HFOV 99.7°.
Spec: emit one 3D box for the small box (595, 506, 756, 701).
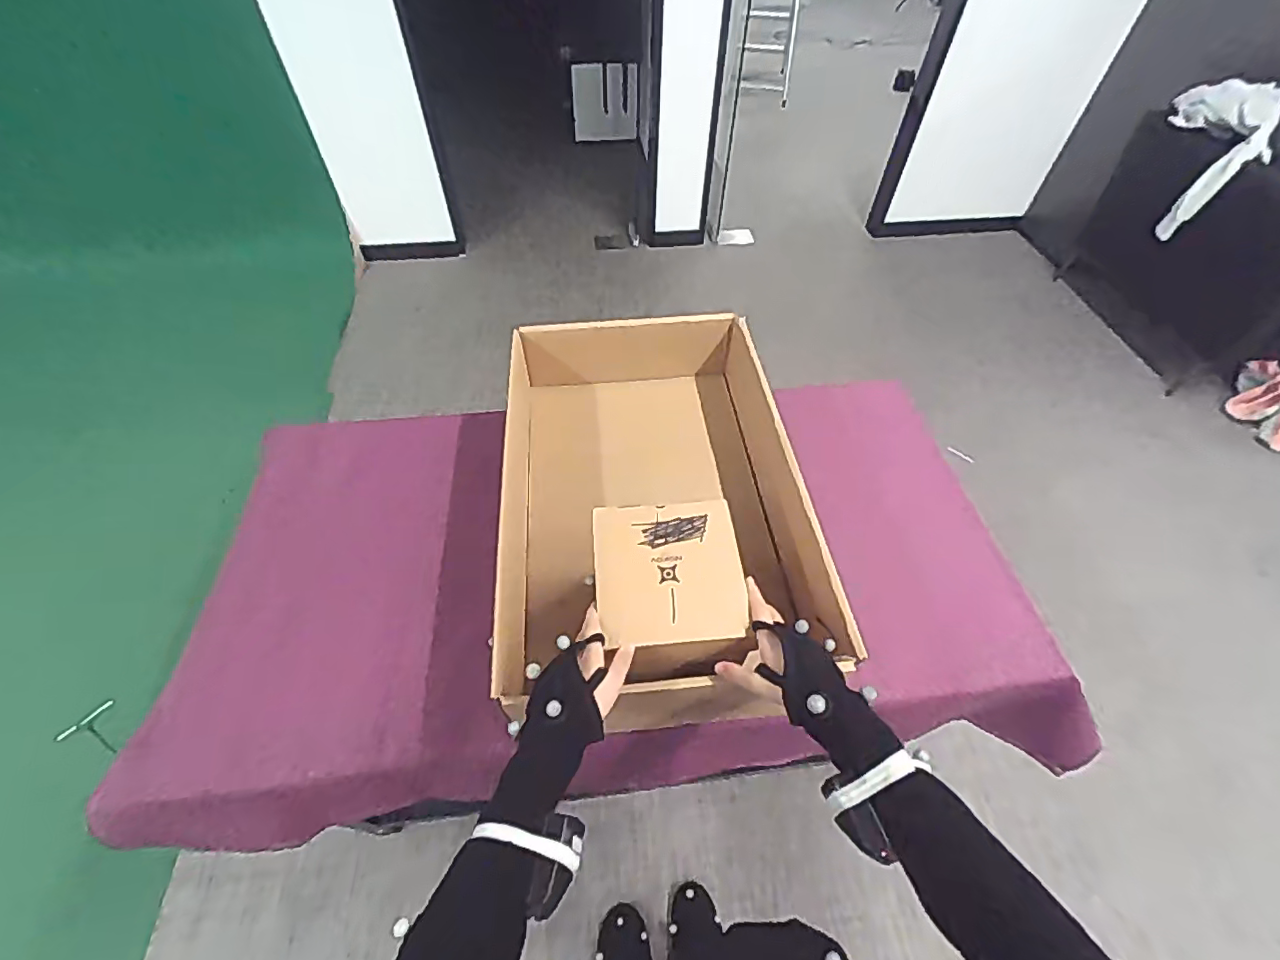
[{"bbox_3d":[0.032,0.154,0.666,0.168,0.176,0.179,-4,53,-3],"label":"small box"}]
